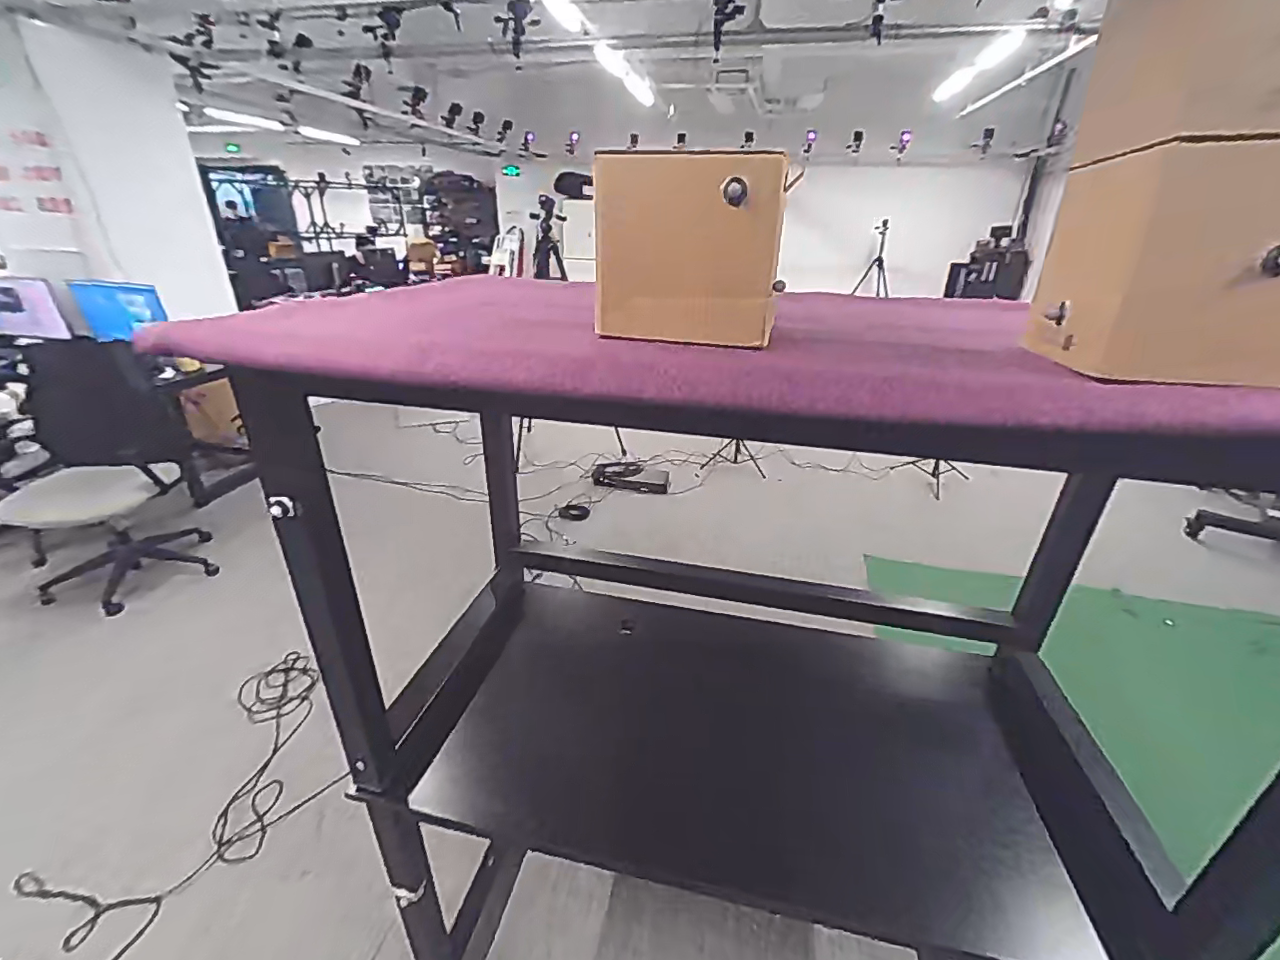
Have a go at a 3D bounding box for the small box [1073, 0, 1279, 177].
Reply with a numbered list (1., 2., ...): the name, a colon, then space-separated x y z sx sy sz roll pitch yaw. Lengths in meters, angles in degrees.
1. small box: 0.463 -0.327 0.389 0.168 0.176 0.179 6 24 13

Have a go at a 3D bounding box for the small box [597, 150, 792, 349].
1. small box: 0.060 -0.238 0.574 0.179 0.176 0.168 8 25 12
